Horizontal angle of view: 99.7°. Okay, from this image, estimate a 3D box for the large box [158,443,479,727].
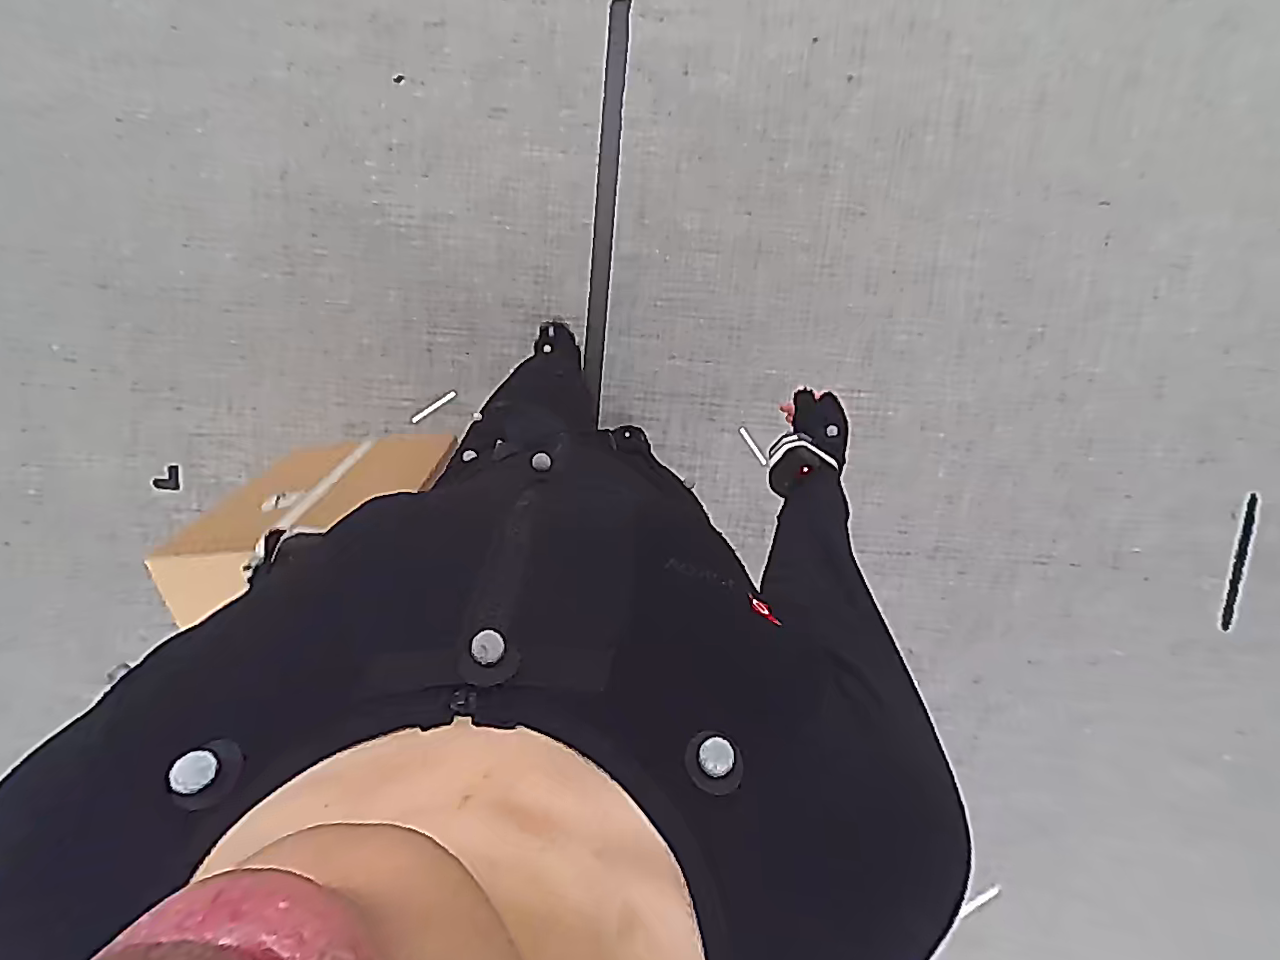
[{"bbox_3d":[-0.495,0.154,0.958,0.320,0.408,0.320,-6,114,-2],"label":"large box"}]
